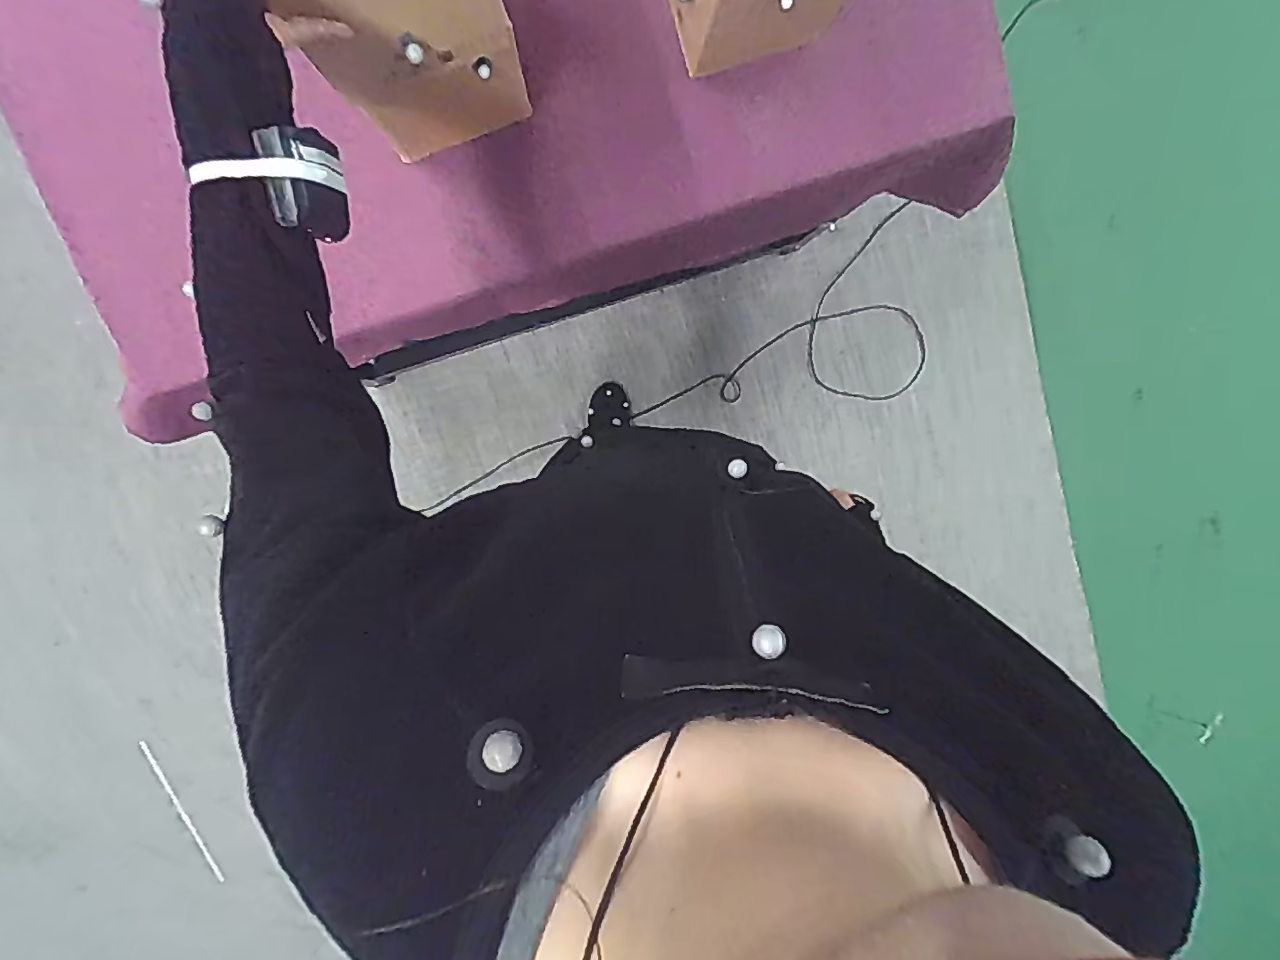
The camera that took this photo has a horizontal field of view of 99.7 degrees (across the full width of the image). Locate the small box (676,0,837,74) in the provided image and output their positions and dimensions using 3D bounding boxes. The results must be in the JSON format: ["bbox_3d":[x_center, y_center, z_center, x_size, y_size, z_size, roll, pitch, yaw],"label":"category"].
[{"bbox_3d":[0.130,-0.600,0.602,0.179,0.176,0.168,-18,100,-2],"label":"small box"}]

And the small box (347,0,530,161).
[{"bbox_3d":[-0.237,-0.489,0.592,0.179,0.176,0.168,-23,99,-1],"label":"small box"}]

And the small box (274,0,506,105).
[{"bbox_3d":[-0.226,-0.454,0.430,0.168,0.176,0.179,-22,100,0],"label":"small box"}]
